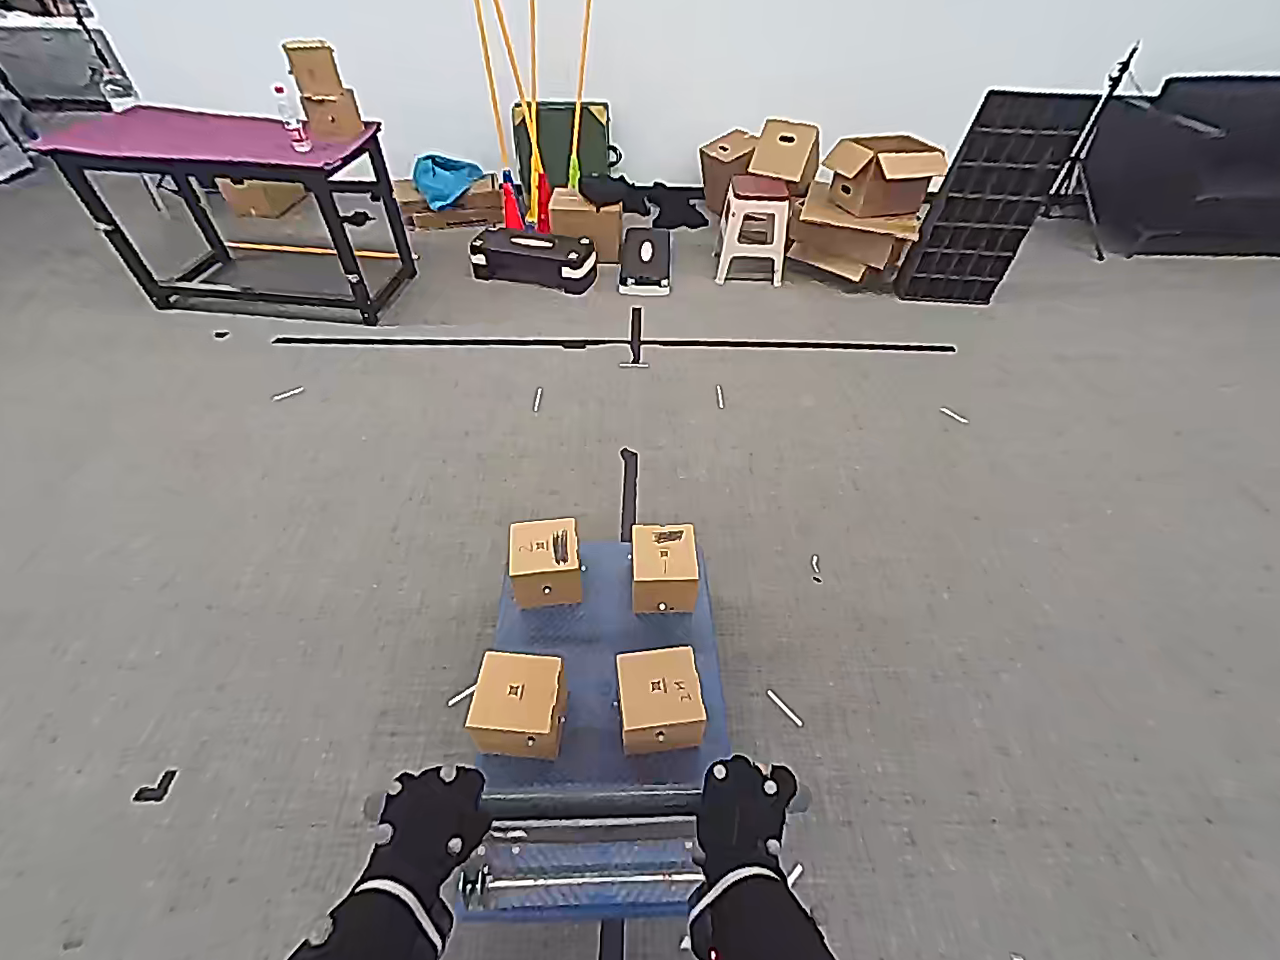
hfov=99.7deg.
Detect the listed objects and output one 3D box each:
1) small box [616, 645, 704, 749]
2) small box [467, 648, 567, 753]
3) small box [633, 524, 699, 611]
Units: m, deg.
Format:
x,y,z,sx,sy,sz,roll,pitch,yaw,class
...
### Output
x,y,z,sx,sy,sz,roll,pitch,yaw,class
0.041,0.496,1.230,0.179,0.176,0.168,-4,48,-5,small box
-0.267,0.500,1.219,0.179,0.176,0.168,5,47,1,small box
0.064,0.238,1.469,0.168,0.176,0.179,0,48,-2,small box
